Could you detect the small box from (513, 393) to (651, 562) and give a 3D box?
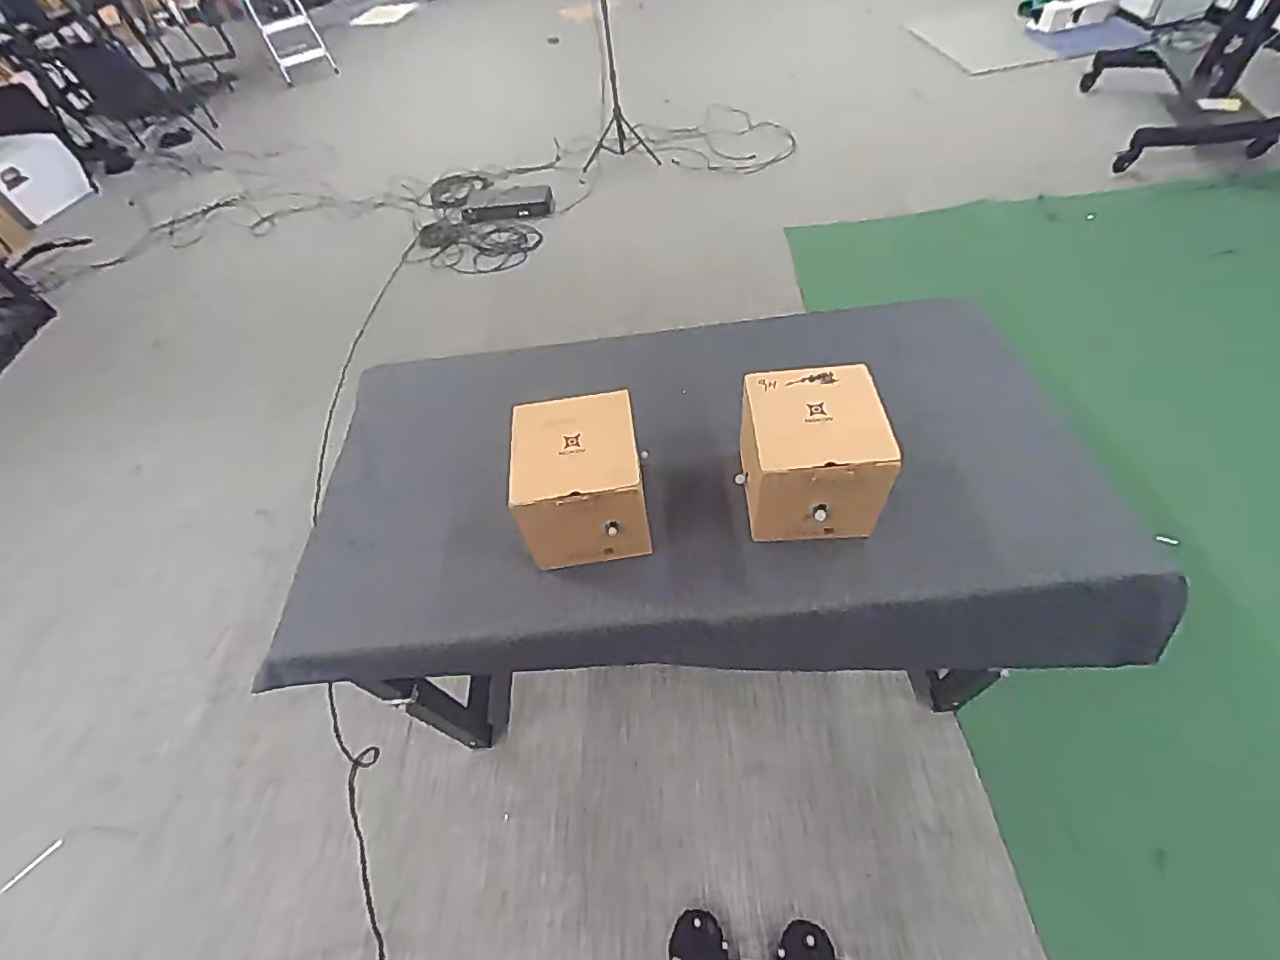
[{"bbox_3d":[-0.080,0.004,0.781,0.168,0.176,0.179,-8,51,-1],"label":"small box"}]

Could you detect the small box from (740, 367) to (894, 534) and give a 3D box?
[{"bbox_3d":[0.235,-0.033,0.765,0.168,0.176,0.179,-4,53,5],"label":"small box"}]
